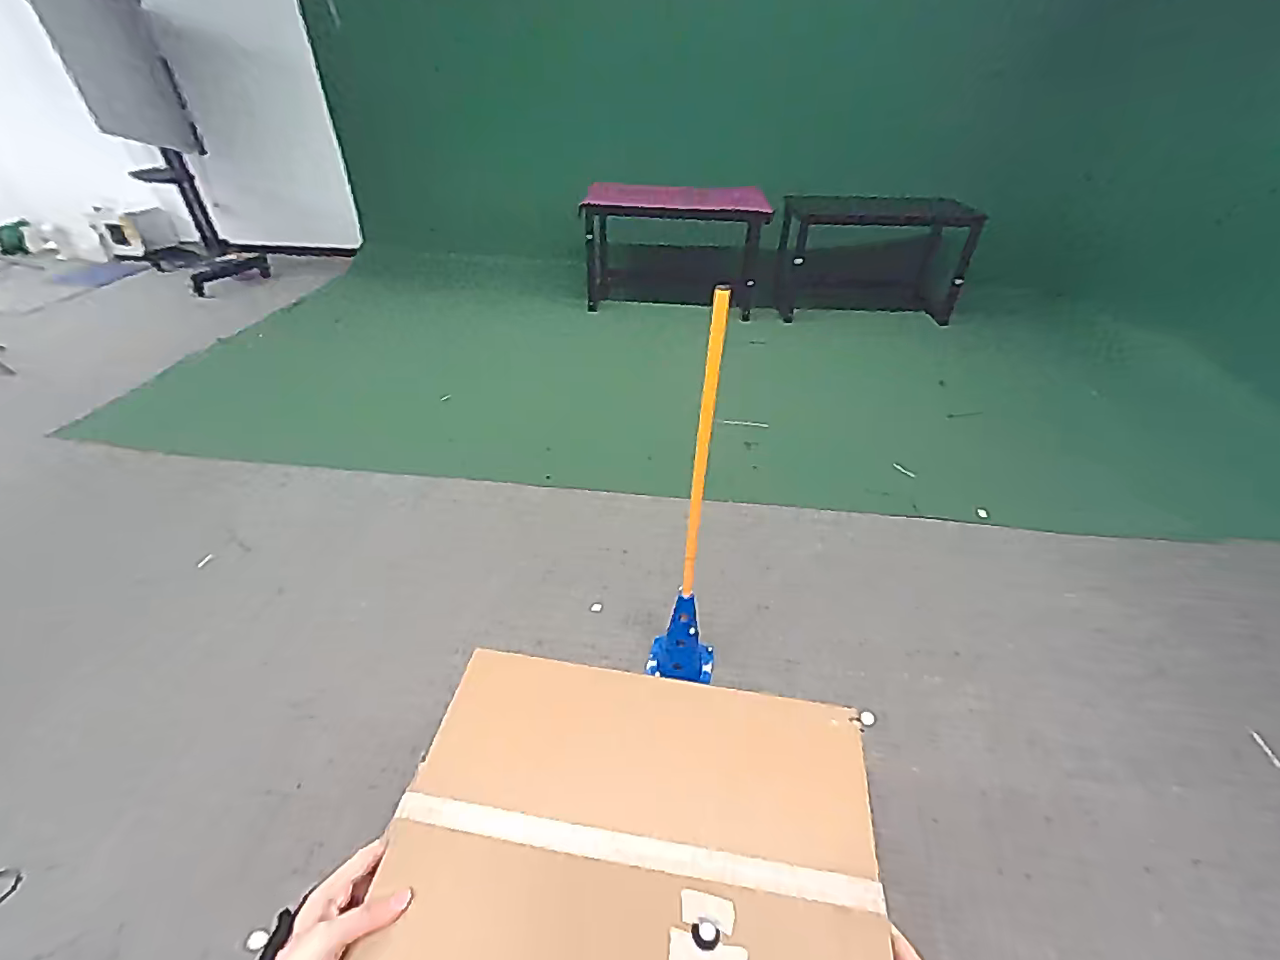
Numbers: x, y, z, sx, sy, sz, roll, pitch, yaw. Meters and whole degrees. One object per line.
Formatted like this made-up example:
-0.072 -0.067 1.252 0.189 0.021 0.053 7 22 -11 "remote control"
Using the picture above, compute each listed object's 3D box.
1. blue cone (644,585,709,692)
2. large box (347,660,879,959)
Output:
0.121 0.459 1.606 0.193 0.380 0.192 11 38 12 "blue cone"
-0.014 0.426 0.555 0.408 0.320 0.320 7 43 6 "large box"
